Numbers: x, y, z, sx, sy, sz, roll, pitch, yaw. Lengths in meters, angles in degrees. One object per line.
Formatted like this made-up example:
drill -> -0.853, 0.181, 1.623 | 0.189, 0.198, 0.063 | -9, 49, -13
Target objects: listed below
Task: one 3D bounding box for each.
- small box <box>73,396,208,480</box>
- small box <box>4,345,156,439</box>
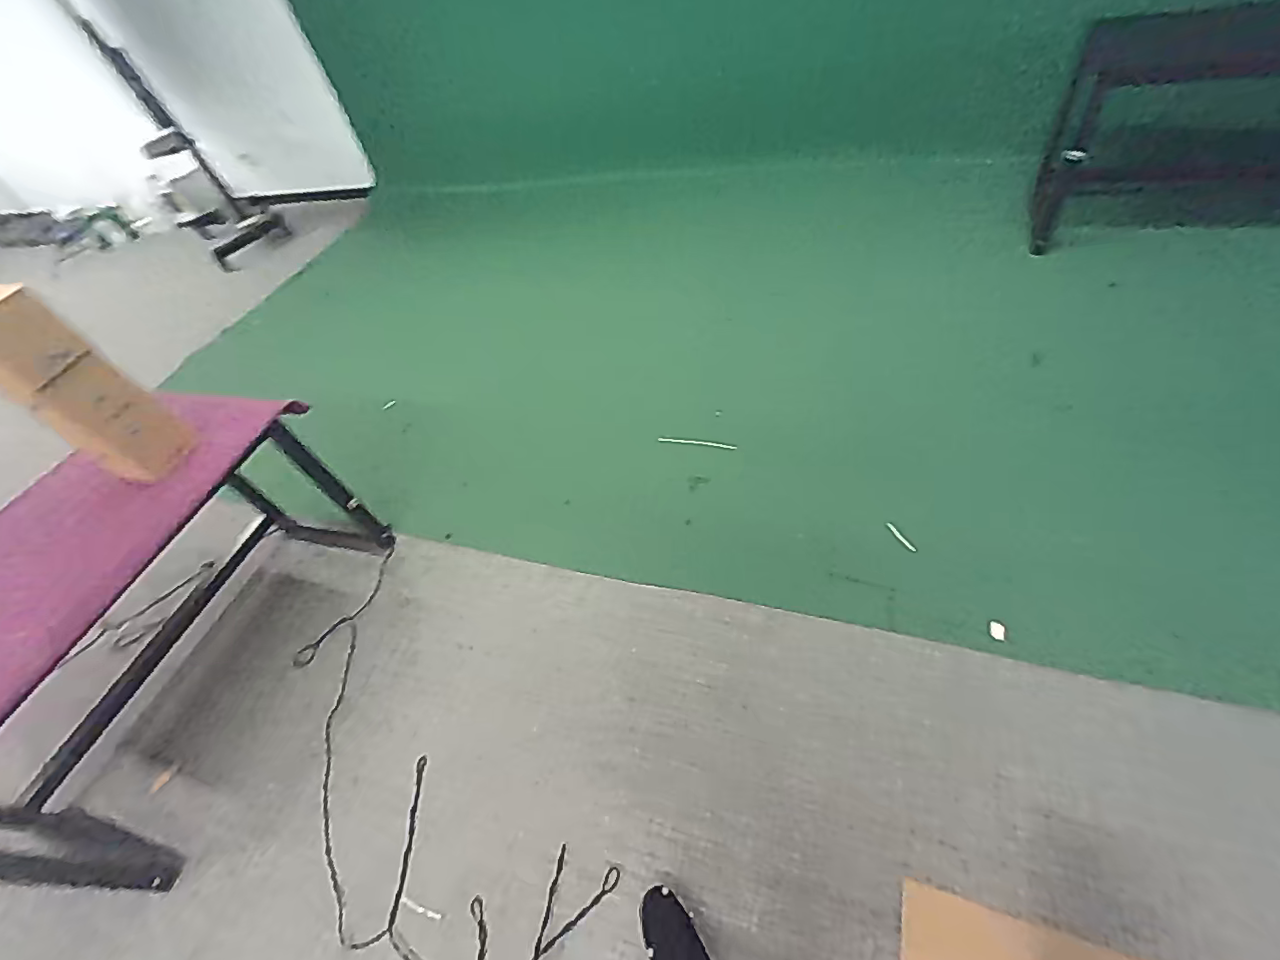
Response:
small box -> -1.365, -0.117, 1.490 | 0.179, 0.176, 0.168 | 5, 54, 20
small box -> -1.400, -0.220, 1.365 | 0.179, 0.176, 0.168 | 7, 53, 20
